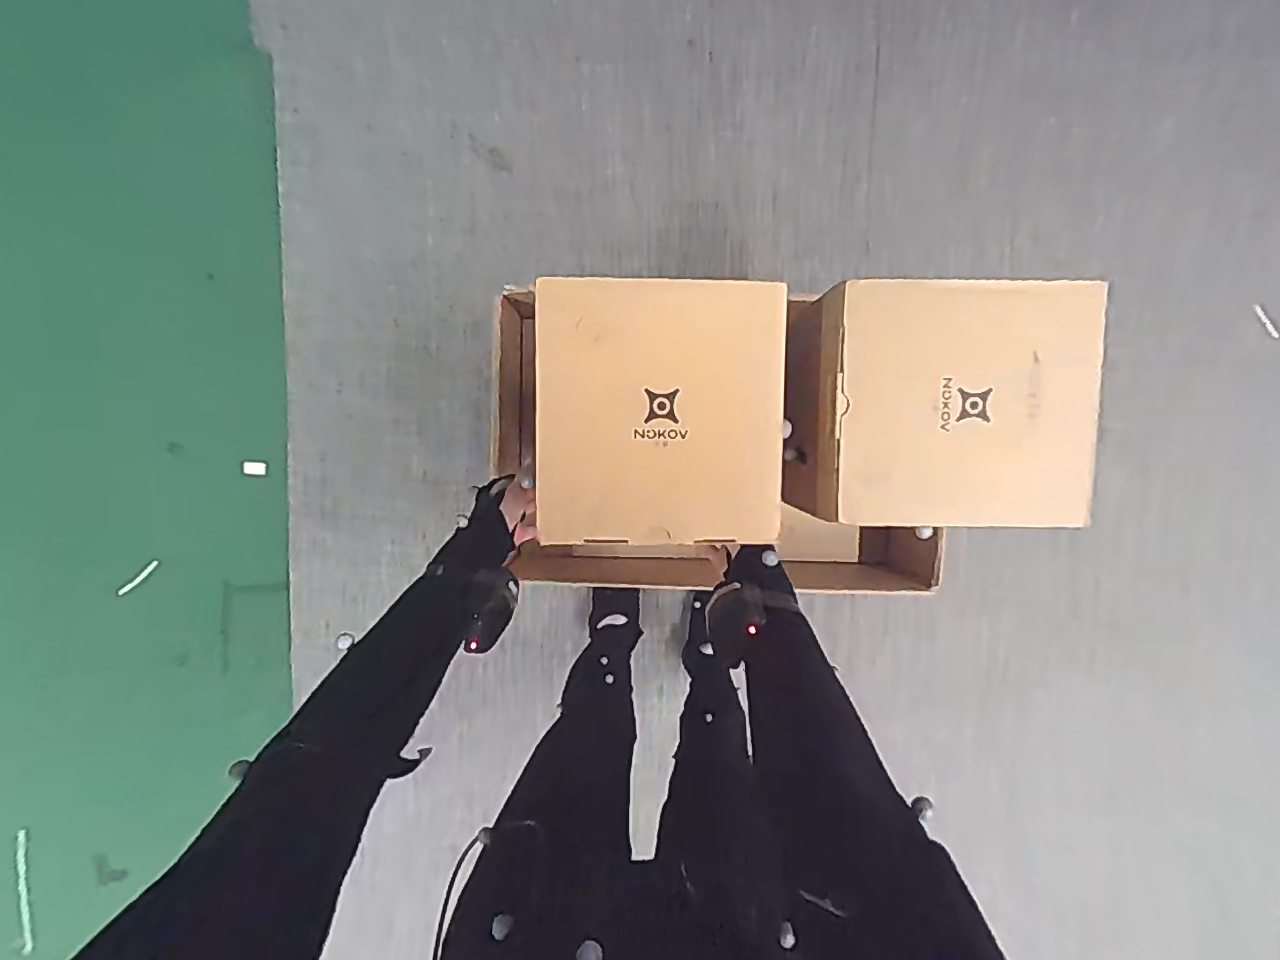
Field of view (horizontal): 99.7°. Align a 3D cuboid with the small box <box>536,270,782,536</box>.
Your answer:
[{"bbox_3d":[0.008,-0.054,0.437,0.168,0.176,0.179,0,94,-3],"label":"small box"}]
